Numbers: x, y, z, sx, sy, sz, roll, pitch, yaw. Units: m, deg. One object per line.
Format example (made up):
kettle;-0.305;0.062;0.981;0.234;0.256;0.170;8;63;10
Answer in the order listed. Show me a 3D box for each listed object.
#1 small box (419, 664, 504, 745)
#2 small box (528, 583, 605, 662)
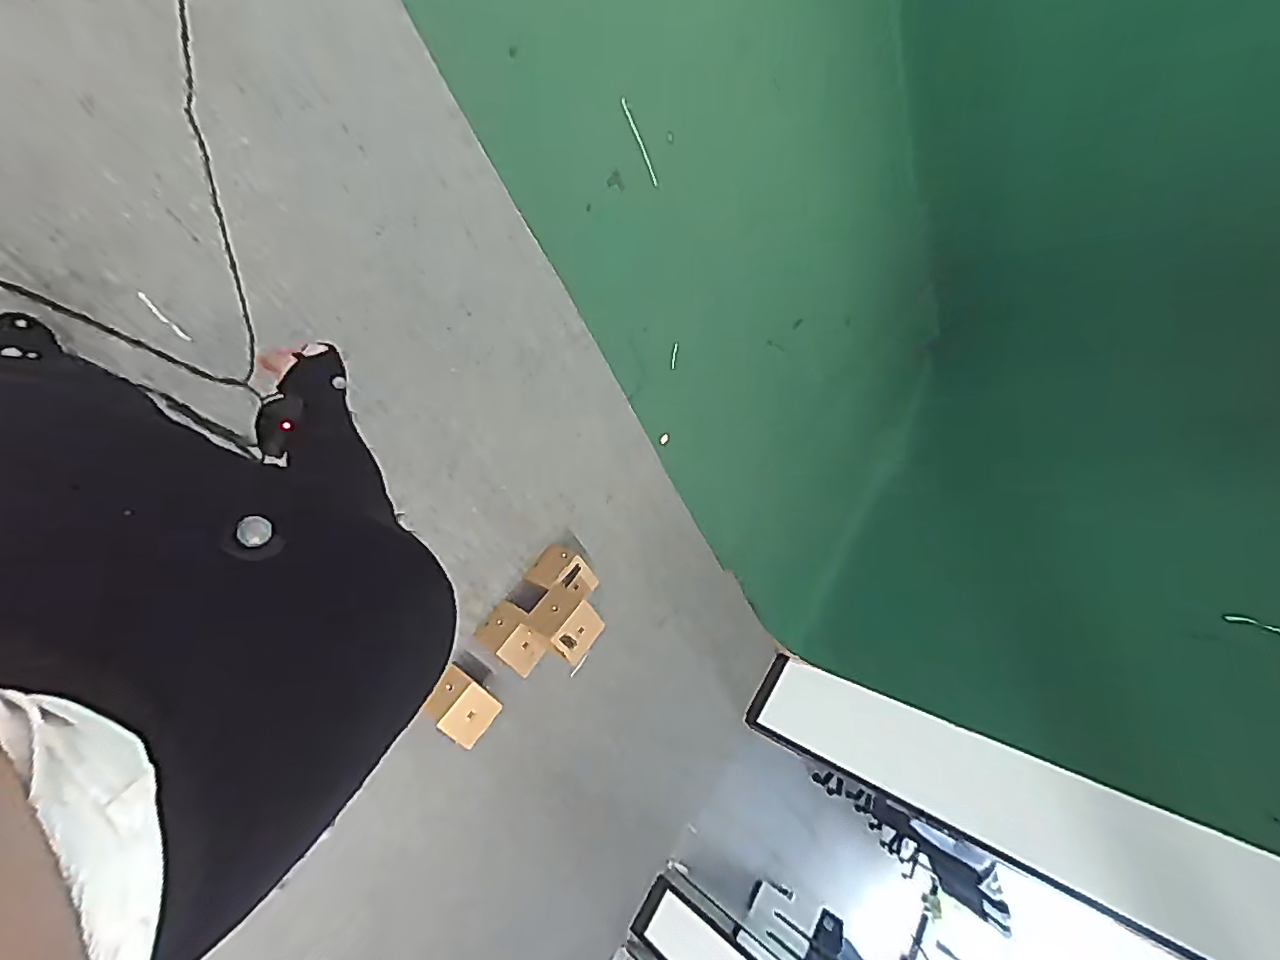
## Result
small box;-0.598;0.739;1.802;0.168;0.176;0.179;-51;130;-26
small box;-0.260;0.482;1.851;0.179;0.176;0.168;-50;129;-27
